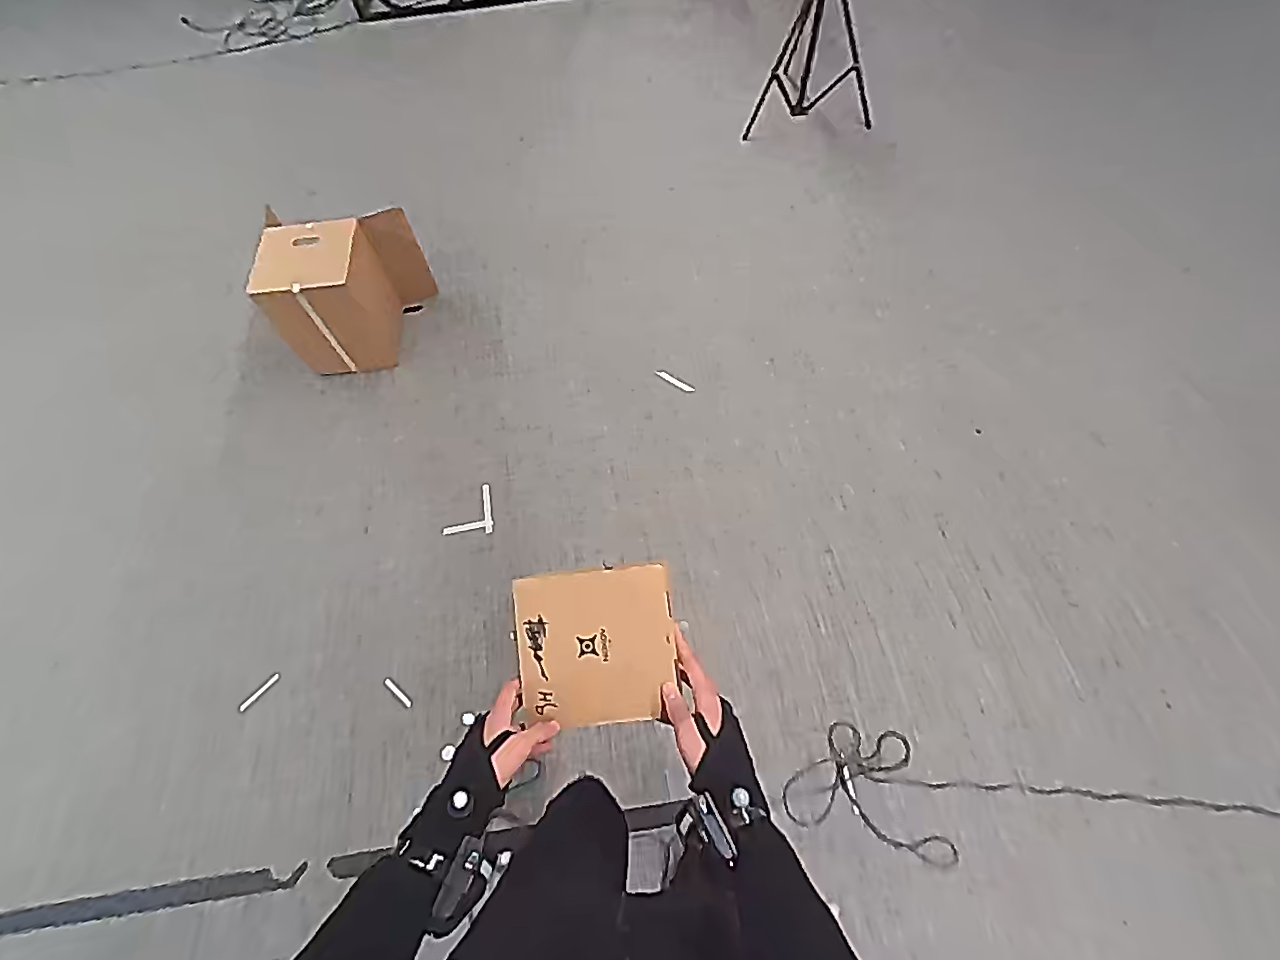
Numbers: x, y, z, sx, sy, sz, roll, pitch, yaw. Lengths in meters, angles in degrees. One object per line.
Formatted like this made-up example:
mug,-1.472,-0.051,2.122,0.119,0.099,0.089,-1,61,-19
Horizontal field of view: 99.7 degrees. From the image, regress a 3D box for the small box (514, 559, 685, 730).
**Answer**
small box,-0.042,0.190,0.669,0.179,0.176,0.168,-7,83,3
